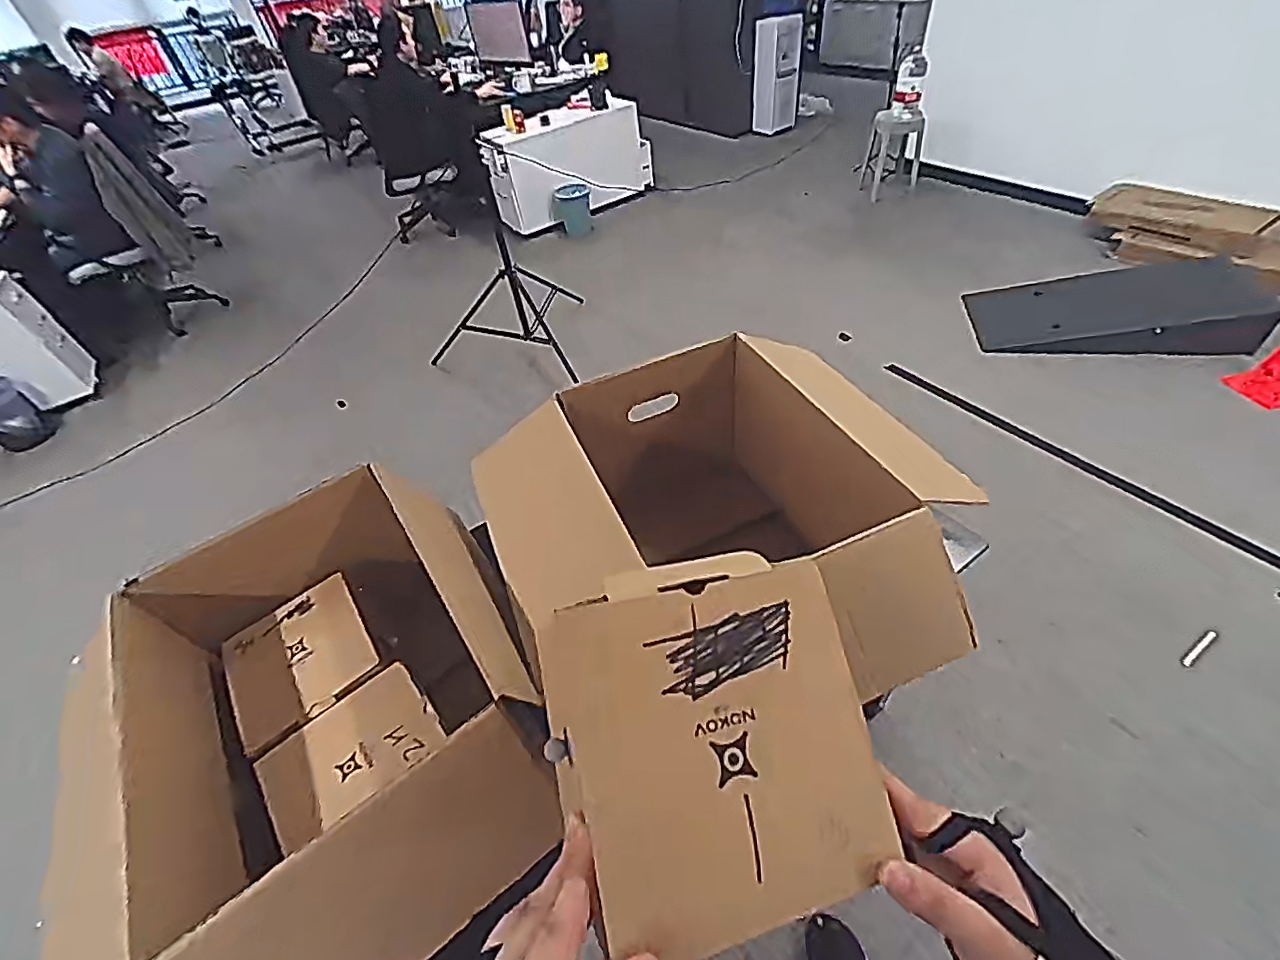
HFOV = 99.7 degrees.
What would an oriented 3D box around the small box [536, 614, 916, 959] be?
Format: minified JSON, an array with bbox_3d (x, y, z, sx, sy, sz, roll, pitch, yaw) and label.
[{"bbox_3d":[0.030,0.197,0.352,0.168,0.176,0.179,-7,74,-17],"label":"small box"}]
